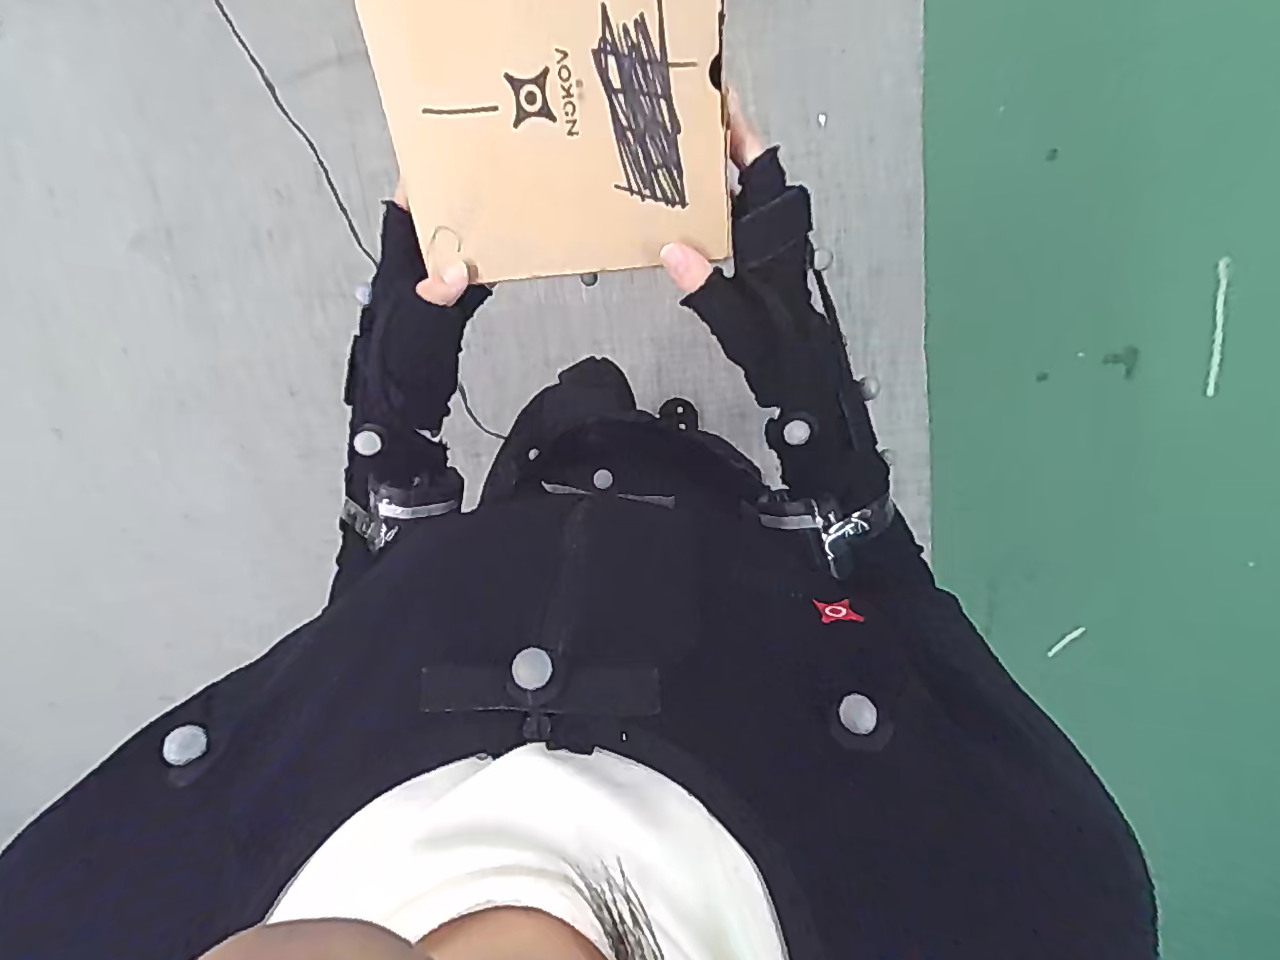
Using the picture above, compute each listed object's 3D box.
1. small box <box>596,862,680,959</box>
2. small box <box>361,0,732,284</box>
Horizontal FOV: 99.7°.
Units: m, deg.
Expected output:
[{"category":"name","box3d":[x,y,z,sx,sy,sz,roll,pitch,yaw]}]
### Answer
[{"category":"small box","box3d":[0.000,1.026,1.257,0.168,0.176,0.179,-9,100,5]},{"category":"small box","box3d":[-0.035,-0.229,0.341,0.179,0.176,0.168,-2,118,9]}]
